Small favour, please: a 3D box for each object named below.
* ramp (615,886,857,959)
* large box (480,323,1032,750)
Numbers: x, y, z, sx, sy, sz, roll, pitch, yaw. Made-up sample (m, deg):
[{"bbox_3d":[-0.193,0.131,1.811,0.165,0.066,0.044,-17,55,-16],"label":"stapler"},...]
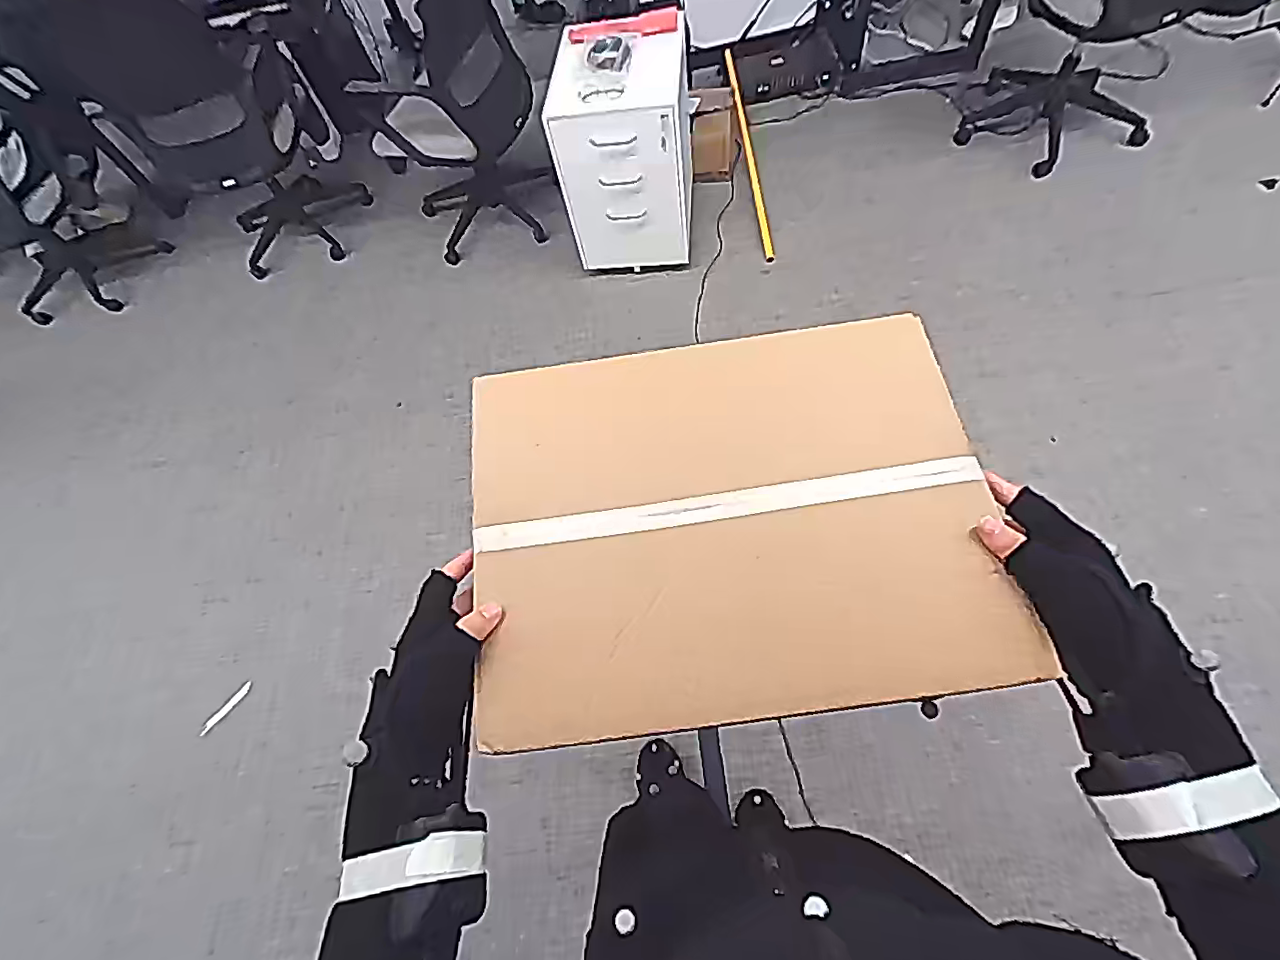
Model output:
[{"bbox_3d":[0.218,1.283,0.851,0.509,0.206,0.991,-10,61,4],"label":"ramp"},{"bbox_3d":[0.079,0.078,0.580,0.408,0.320,0.320,-8,67,1],"label":"large box"}]
